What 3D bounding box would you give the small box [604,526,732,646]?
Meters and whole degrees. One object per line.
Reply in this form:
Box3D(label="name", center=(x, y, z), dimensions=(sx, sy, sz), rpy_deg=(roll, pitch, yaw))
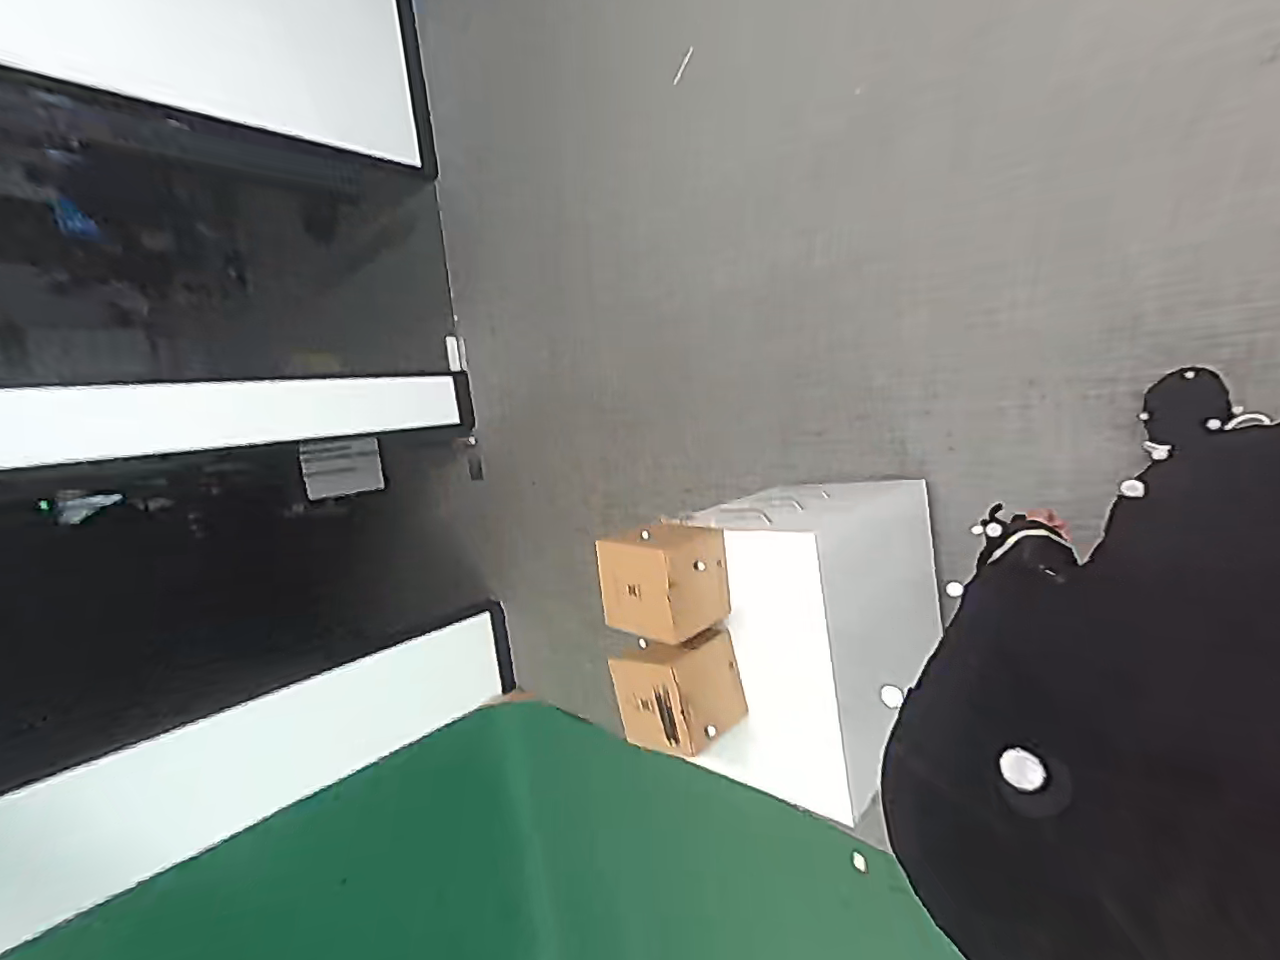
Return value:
Box3D(label="small box", center=(0.058, 0.184, 1.005), dimensions=(0.179, 0.176, 0.168), rpy_deg=(1, 99, 45))
